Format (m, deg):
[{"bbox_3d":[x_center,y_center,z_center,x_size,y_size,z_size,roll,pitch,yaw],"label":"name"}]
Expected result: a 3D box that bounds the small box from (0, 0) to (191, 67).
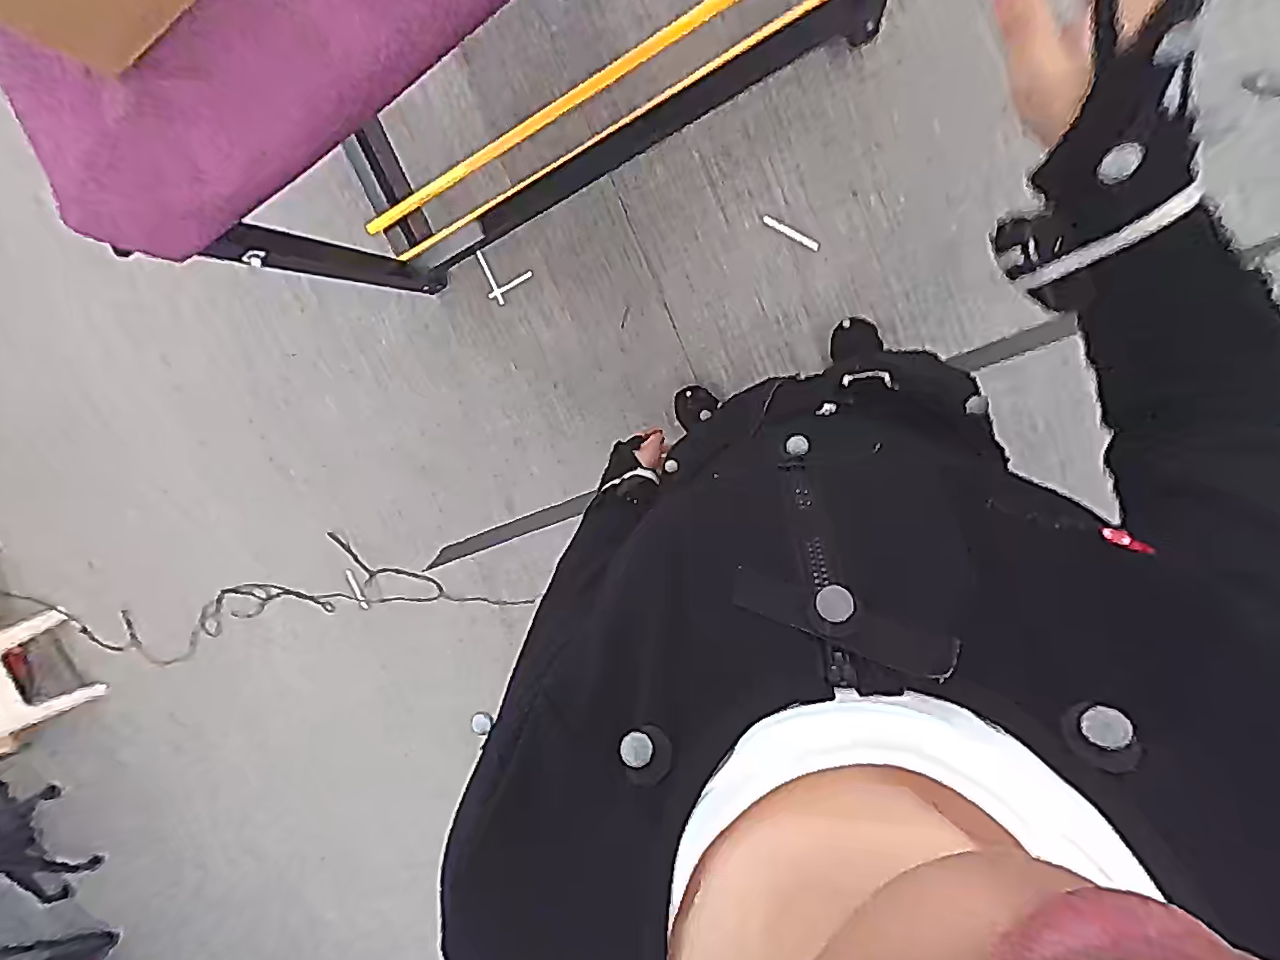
[{"bbox_3d":[-0.649,-0.618,0.593,0.179,0.176,0.168,-24,95,15],"label":"small box"}]
